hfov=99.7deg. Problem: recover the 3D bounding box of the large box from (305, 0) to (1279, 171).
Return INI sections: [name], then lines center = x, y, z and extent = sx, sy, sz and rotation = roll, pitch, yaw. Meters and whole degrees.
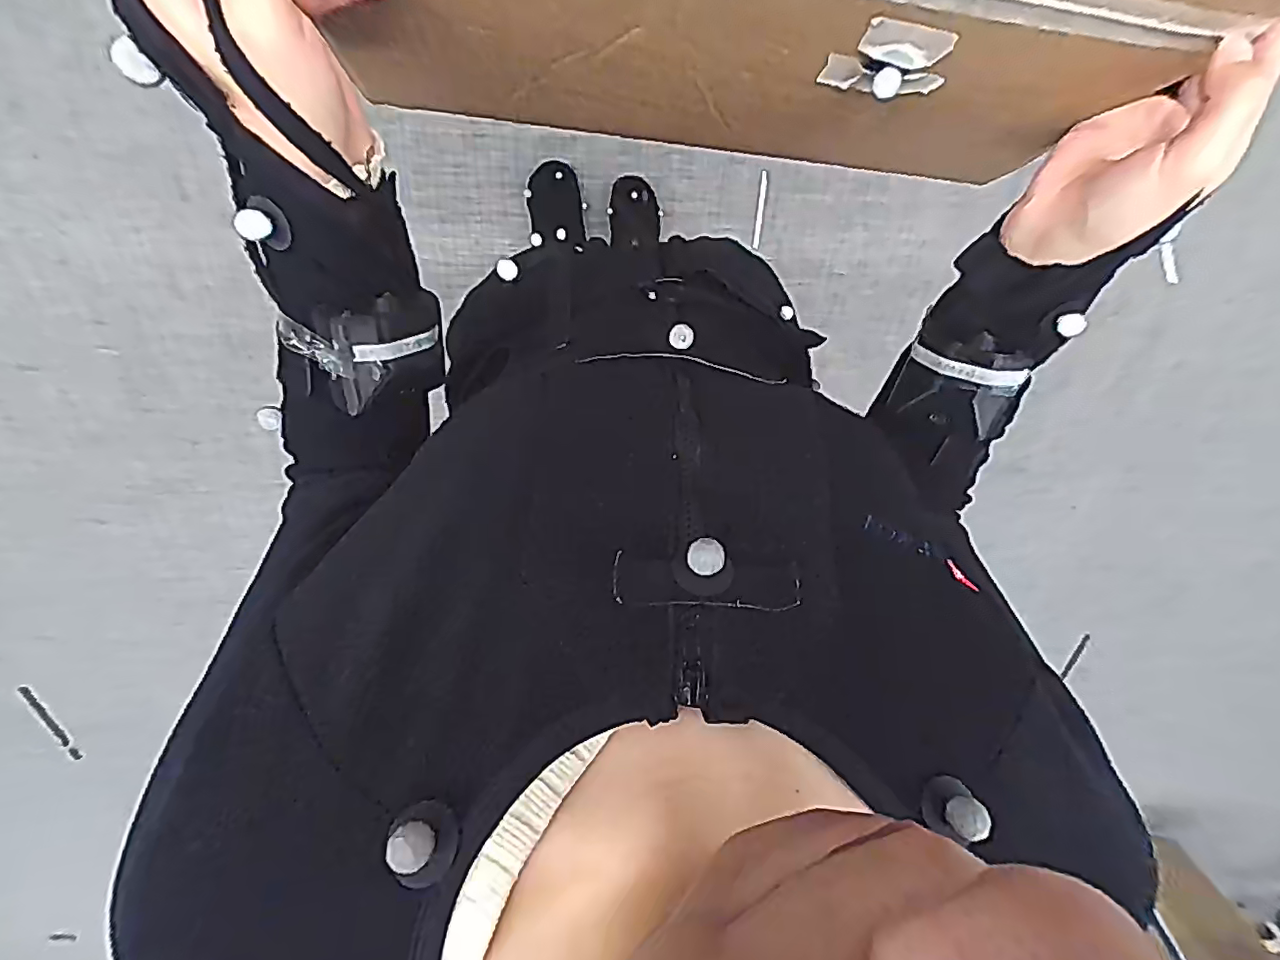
[large box]
center = 0.060, -0.350, 0.183
extent = 0.408, 0.320, 0.320
rotation = 2, 98, -8
